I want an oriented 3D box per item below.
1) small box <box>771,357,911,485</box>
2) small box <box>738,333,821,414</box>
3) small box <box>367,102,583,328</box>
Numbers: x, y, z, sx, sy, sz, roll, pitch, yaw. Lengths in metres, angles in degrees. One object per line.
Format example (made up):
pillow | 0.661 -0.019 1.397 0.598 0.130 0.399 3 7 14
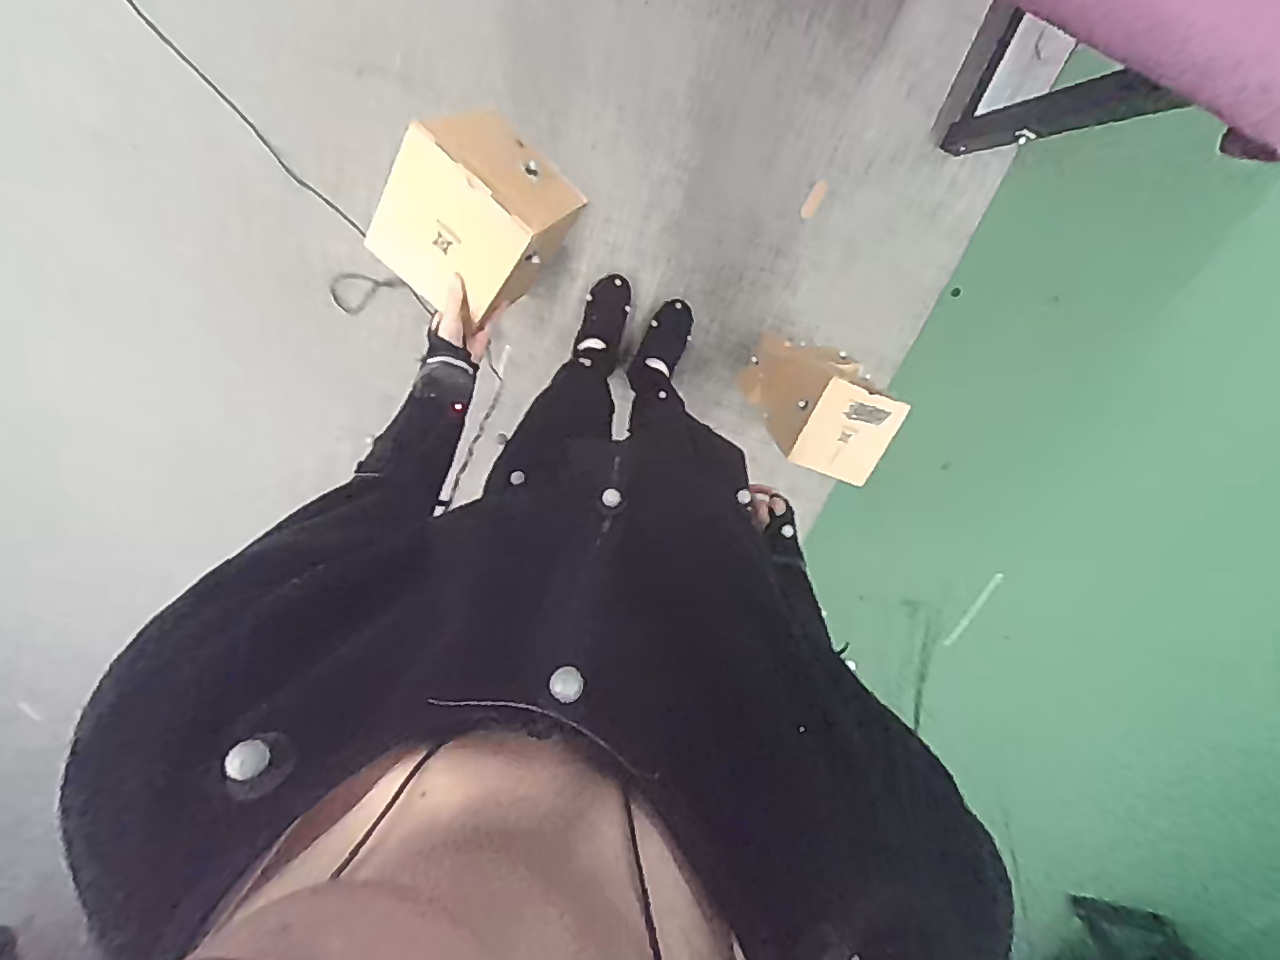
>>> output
small box | 0.378 -0.122 1.059 0.168 0.176 0.179 19 114 -11
small box | 0.368 -0.254 1.360 0.179 0.176 0.168 27 112 -13
small box | -0.198 -0.333 0.681 0.168 0.176 0.179 41 130 -13
